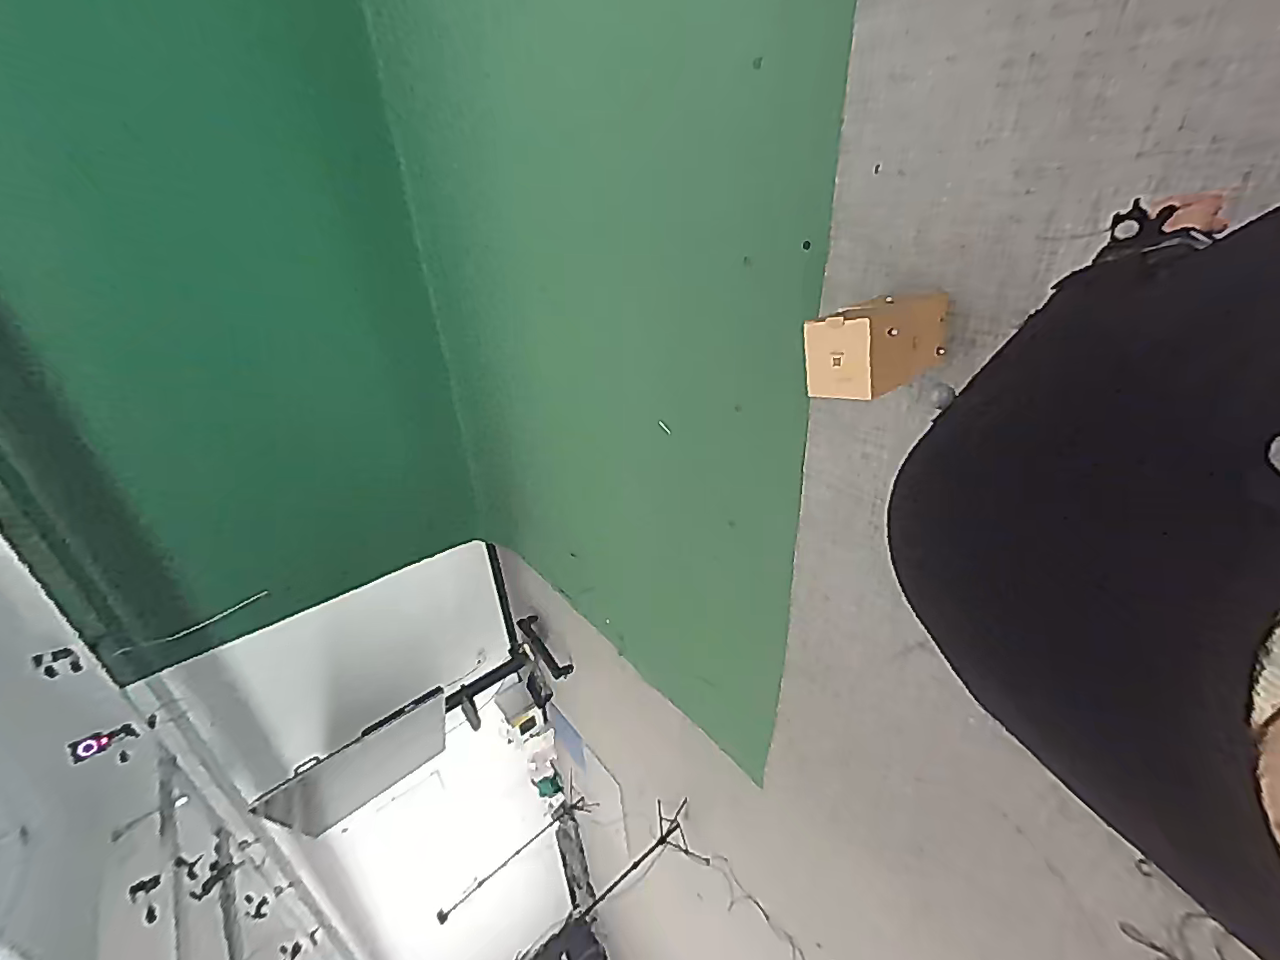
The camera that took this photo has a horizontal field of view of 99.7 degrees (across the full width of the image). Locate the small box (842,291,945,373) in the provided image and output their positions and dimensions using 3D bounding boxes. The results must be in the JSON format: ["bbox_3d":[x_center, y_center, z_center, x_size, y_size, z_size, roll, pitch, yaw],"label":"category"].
[{"bbox_3d":[0.621,-0.363,1.324,0.179,0.176,0.168,19,125,50],"label":"small box"}]

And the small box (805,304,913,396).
[{"bbox_3d":[0.501,-0.300,1.234,0.168,0.176,0.179,16,123,52],"label":"small box"}]
